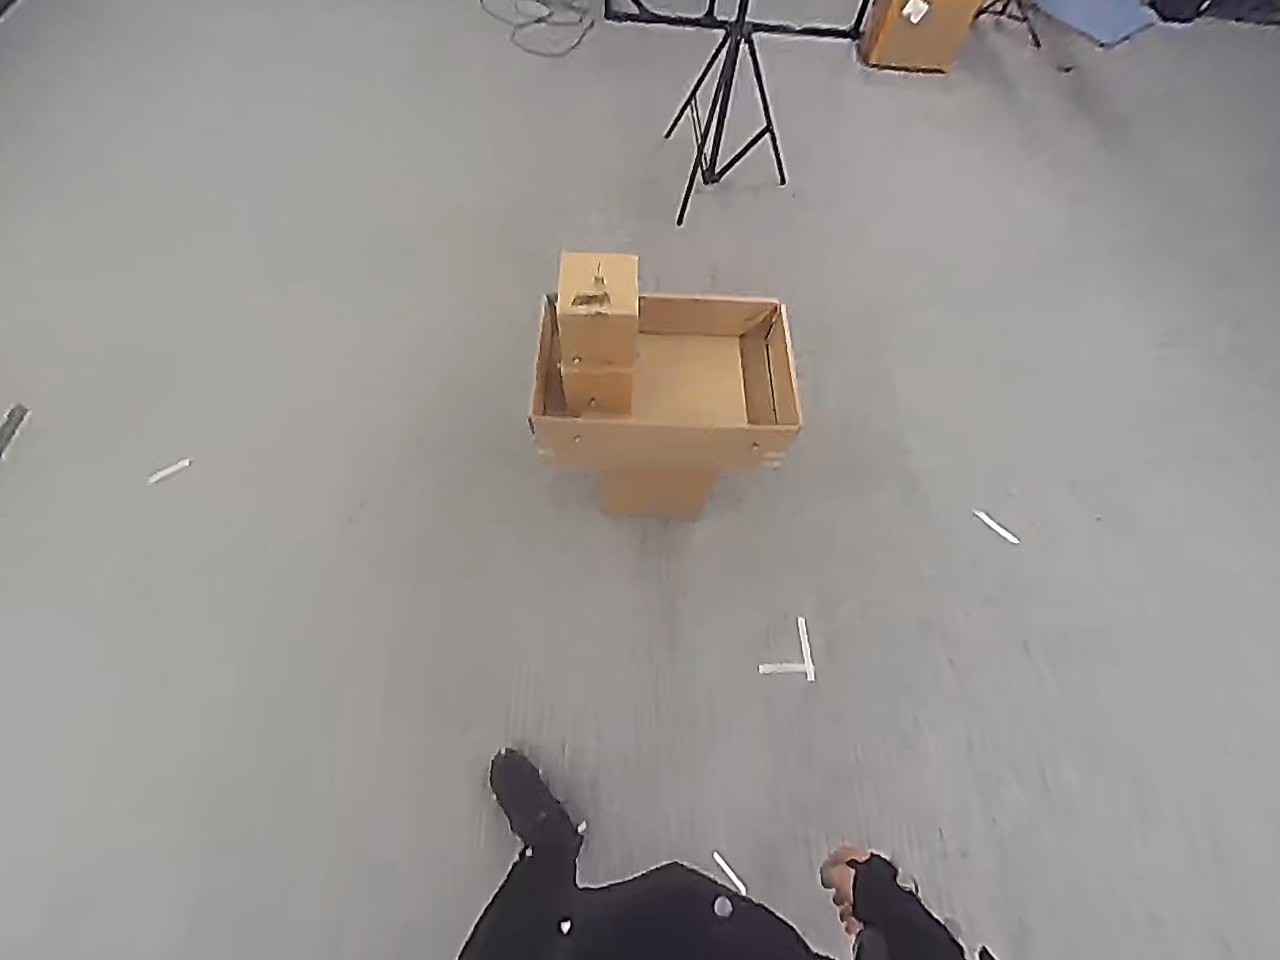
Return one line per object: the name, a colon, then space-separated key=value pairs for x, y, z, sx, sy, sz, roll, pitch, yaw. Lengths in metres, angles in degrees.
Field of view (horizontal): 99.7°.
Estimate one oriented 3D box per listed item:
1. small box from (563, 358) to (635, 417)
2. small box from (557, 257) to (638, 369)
small box: x=-0.097 y=-0.275 z=1.325 sx=0.168 sy=0.176 sz=0.179 roll=0 pitch=64 yaw=-2
small box: x=-0.088 y=-0.360 z=1.185 sx=0.168 sy=0.176 sz=0.179 roll=0 pitch=63 yaw=-3
